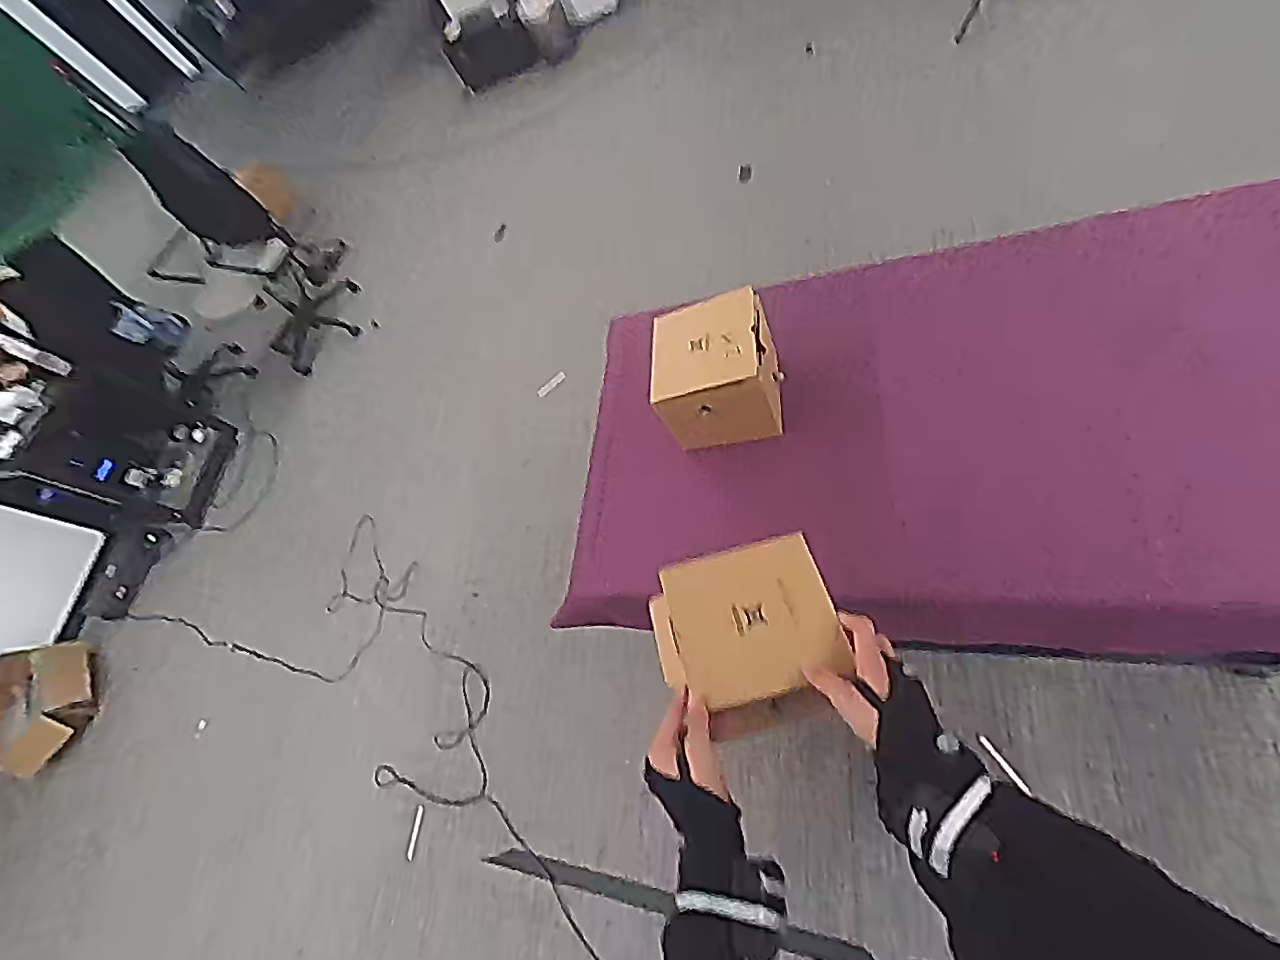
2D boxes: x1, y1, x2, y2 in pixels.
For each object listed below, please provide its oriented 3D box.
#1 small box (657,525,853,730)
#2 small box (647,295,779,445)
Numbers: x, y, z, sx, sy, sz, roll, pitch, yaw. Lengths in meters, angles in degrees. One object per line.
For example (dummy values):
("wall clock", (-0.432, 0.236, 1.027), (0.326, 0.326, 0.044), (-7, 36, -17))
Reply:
("small box", (0.131, 0.183, 0.646), (0.179, 0.176, 0.168), (-15, 53, 2))
("small box", (0.126, -0.170, 0.896), (0.179, 0.176, 0.168), (-6, 65, 21))
